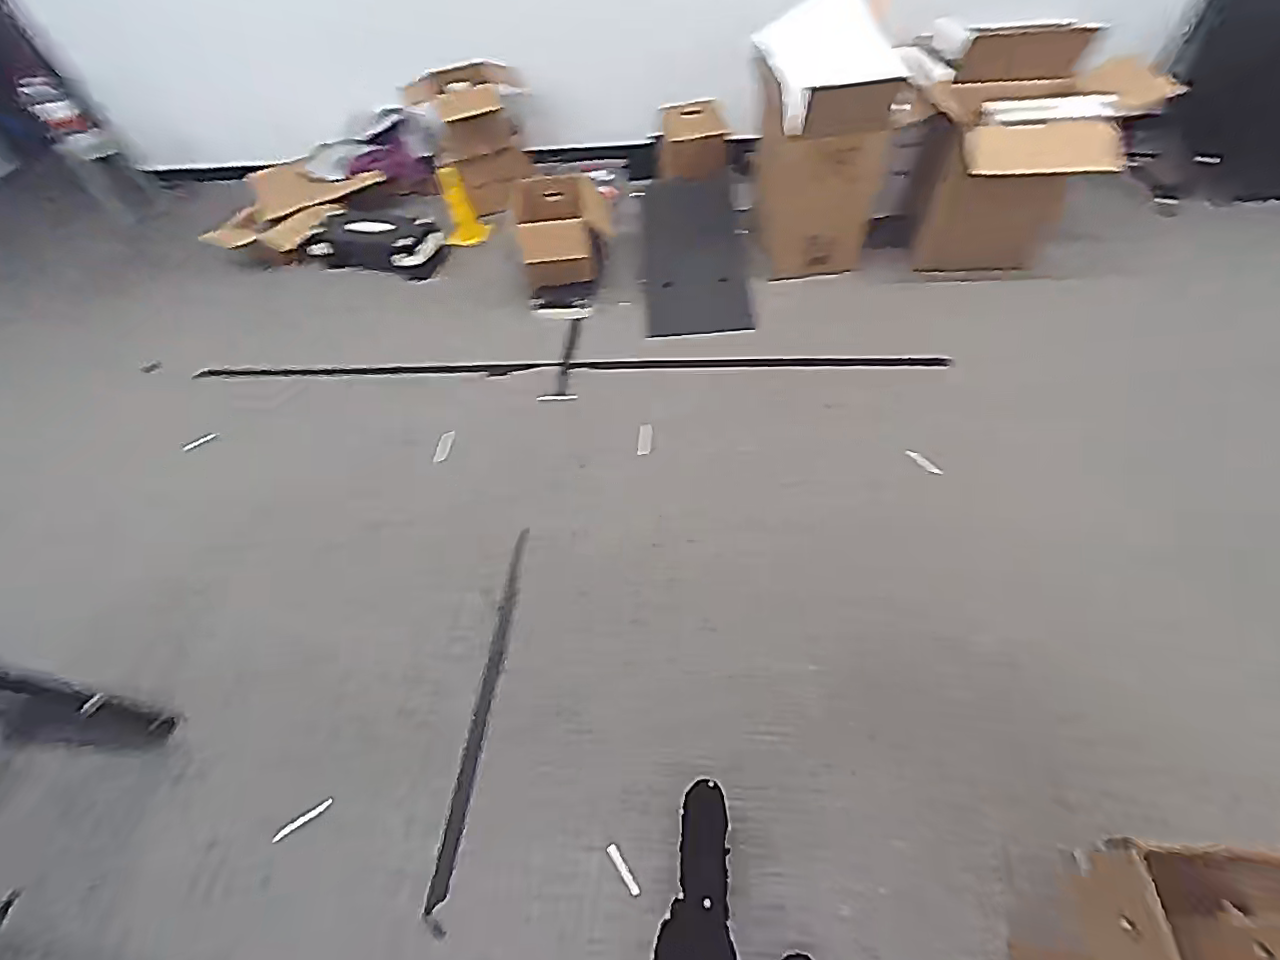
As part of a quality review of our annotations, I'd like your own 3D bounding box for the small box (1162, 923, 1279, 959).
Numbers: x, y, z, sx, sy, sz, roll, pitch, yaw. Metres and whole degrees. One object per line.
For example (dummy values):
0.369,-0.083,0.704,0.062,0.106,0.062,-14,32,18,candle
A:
0.913,0.738,0.754,0.168,0.176,0.179,-3,53,2,small box
